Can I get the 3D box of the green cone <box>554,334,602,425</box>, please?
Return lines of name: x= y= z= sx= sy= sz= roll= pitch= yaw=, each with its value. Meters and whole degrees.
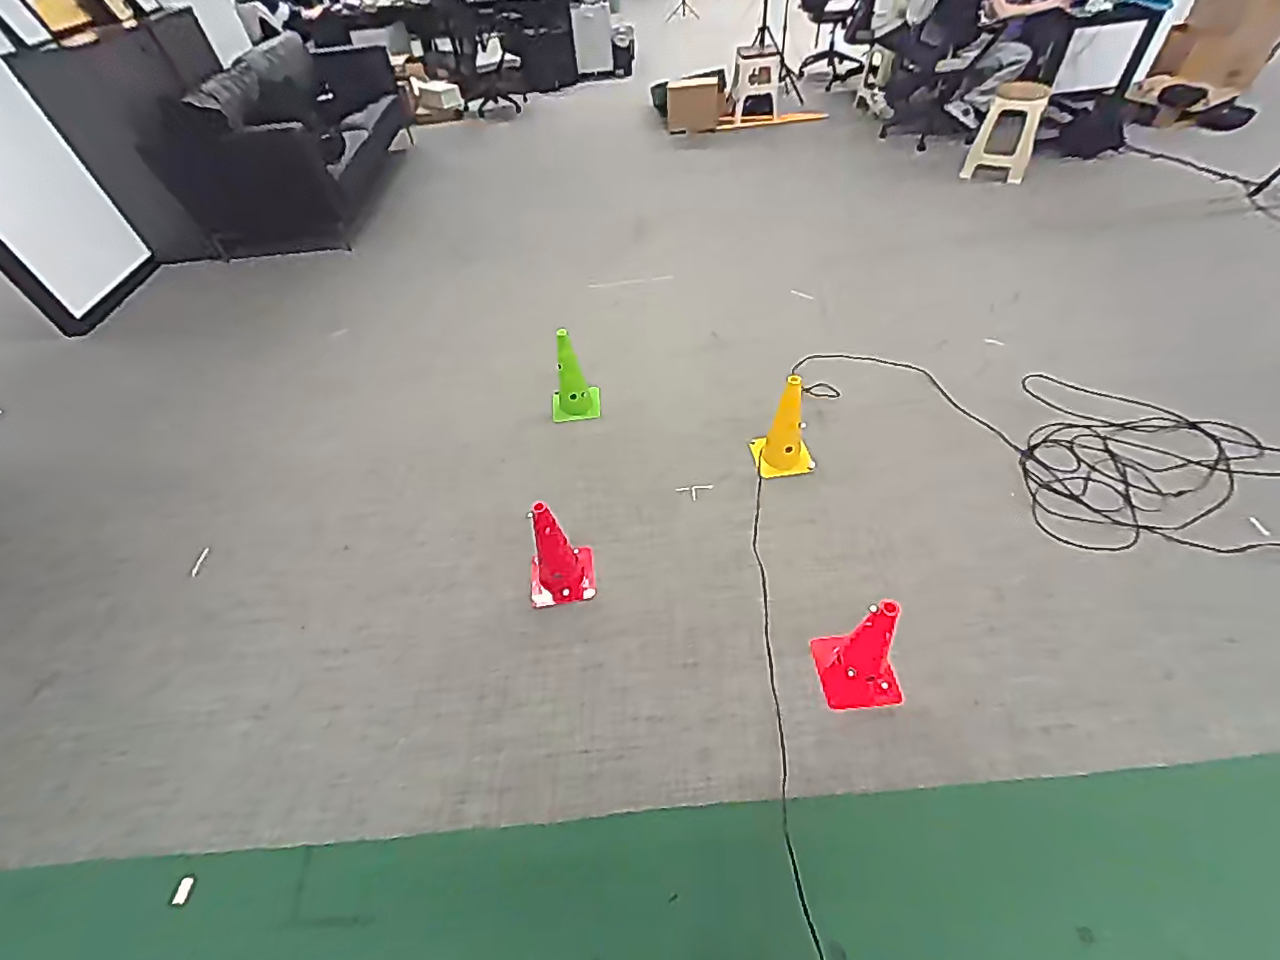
green cone: x=-0.276 y=-0.420 z=2.173 sx=0.202 sy=0.368 sz=0.200 roll=-6 pitch=48 yaw=-1

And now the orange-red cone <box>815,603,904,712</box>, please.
orange-red cone: x=0.575 y=0.406 z=1.333 sx=0.198 sy=0.360 sz=0.199 roll=-5 pitch=47 yaw=1

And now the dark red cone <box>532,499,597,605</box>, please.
dark red cone: x=-0.253 y=0.191 z=1.587 sx=0.202 sy=0.394 sz=0.201 roll=-10 pitch=49 yaw=-3
